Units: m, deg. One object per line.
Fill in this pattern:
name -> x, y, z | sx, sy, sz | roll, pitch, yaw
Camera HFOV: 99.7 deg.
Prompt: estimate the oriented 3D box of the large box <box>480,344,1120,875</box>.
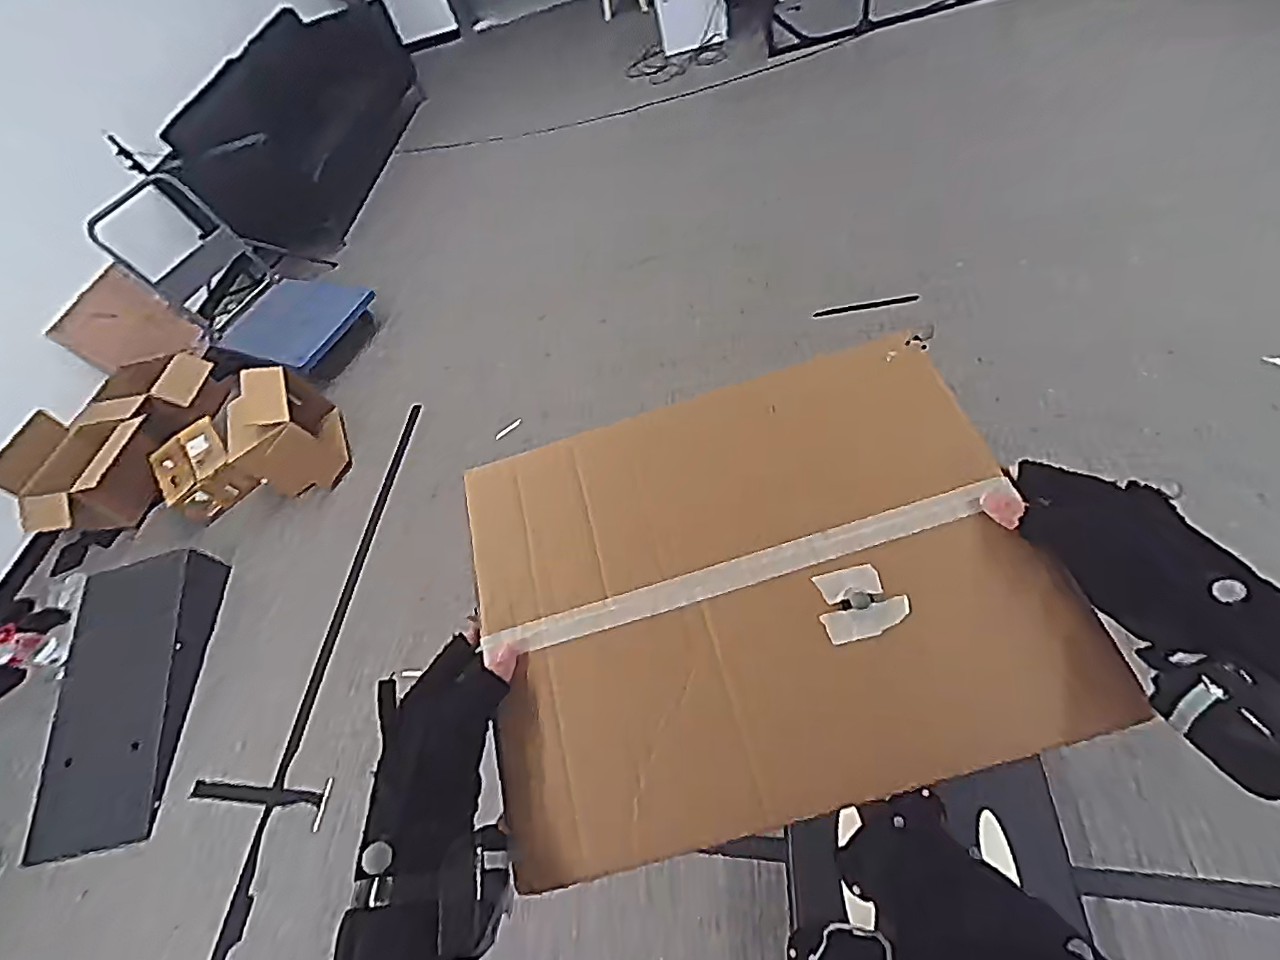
large box -> 0.104, 0.133, 0.547 | 0.408, 0.320, 0.320 | -17, 64, 2
